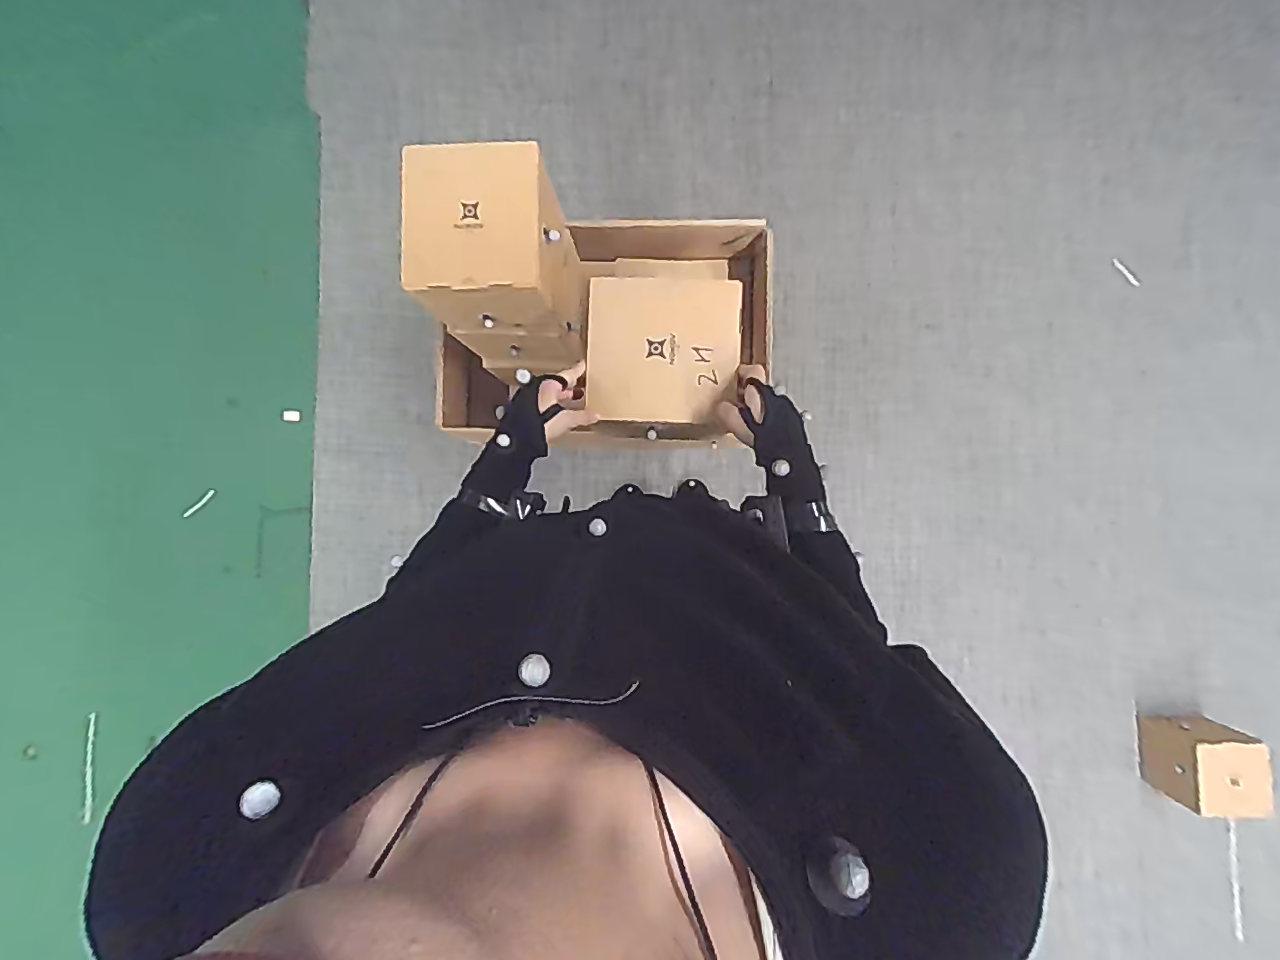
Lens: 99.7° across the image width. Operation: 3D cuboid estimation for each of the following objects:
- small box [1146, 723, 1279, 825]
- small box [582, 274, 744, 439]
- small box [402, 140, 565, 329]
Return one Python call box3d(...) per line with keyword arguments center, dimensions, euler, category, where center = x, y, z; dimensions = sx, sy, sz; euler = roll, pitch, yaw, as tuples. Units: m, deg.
box3d(center=(1.411, 0.719, 1.340), dimensions=(0.168, 0.176, 0.179), euler=(-1, 88, 3), category="small box")
box3d(center=(0.029, -0.144, 0.683), dimensions=(0.179, 0.176, 0.168), euler=(3, 88, 2), category="small box")
box3d(center=(-0.195, -0.312, 0.716), dimensions=(0.168, 0.176, 0.179), euler=(-1, 88, 2), category="small box")
